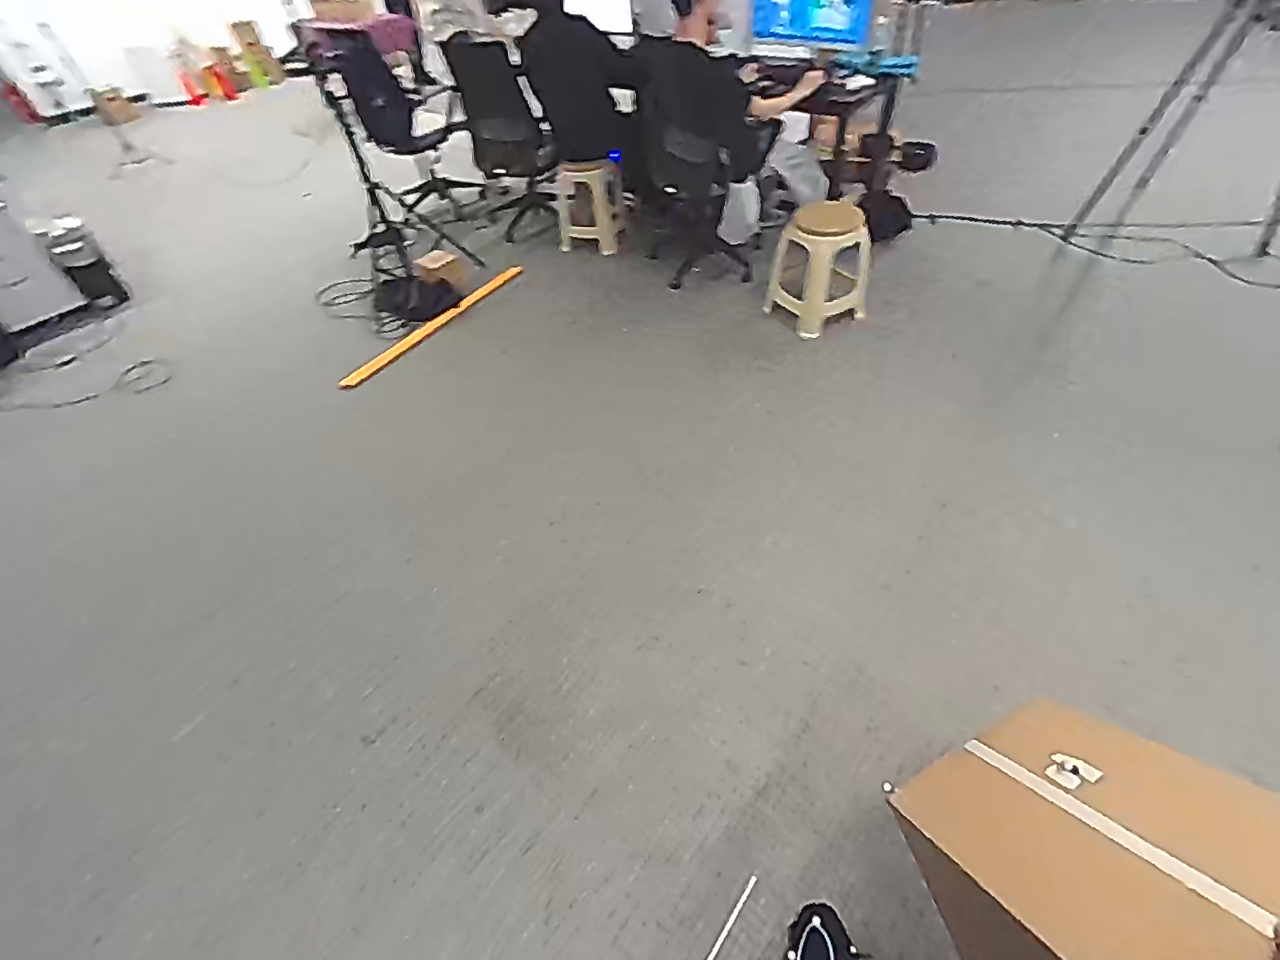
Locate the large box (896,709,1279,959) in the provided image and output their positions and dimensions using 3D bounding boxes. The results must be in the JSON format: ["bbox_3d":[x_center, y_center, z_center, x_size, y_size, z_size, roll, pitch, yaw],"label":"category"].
[{"bbox_3d":[0.619,0.563,0.657,0.320,0.408,0.320,-25,93,-9],"label":"large box"}]
